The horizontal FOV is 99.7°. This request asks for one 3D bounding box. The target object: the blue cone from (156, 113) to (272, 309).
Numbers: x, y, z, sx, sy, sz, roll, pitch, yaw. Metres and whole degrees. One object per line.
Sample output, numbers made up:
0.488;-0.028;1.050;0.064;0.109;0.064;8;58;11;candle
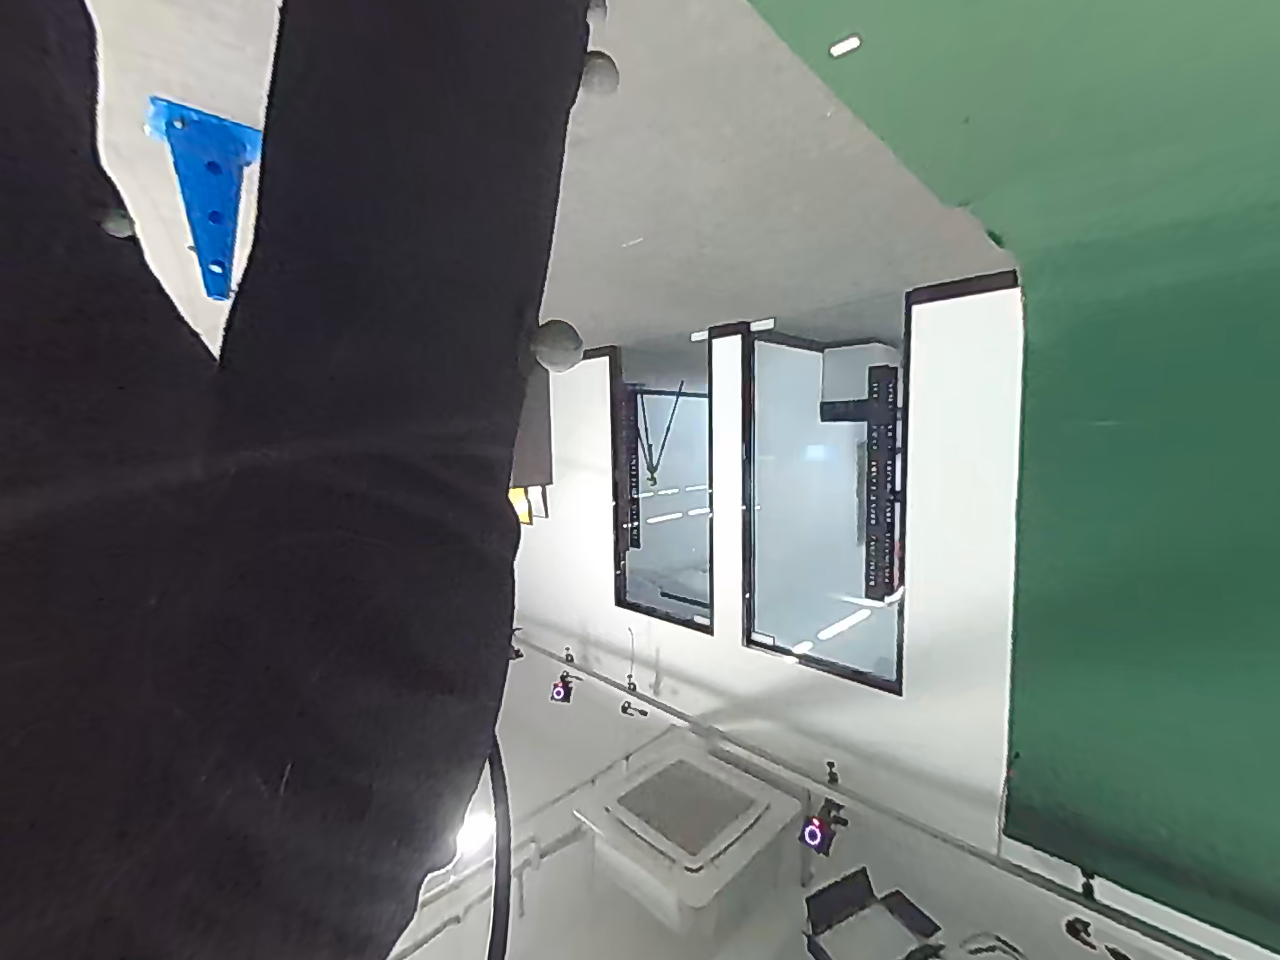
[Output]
-0.931;-0.578;1.204;0.193;0.380;0.192;3;-173;44;blue cone
